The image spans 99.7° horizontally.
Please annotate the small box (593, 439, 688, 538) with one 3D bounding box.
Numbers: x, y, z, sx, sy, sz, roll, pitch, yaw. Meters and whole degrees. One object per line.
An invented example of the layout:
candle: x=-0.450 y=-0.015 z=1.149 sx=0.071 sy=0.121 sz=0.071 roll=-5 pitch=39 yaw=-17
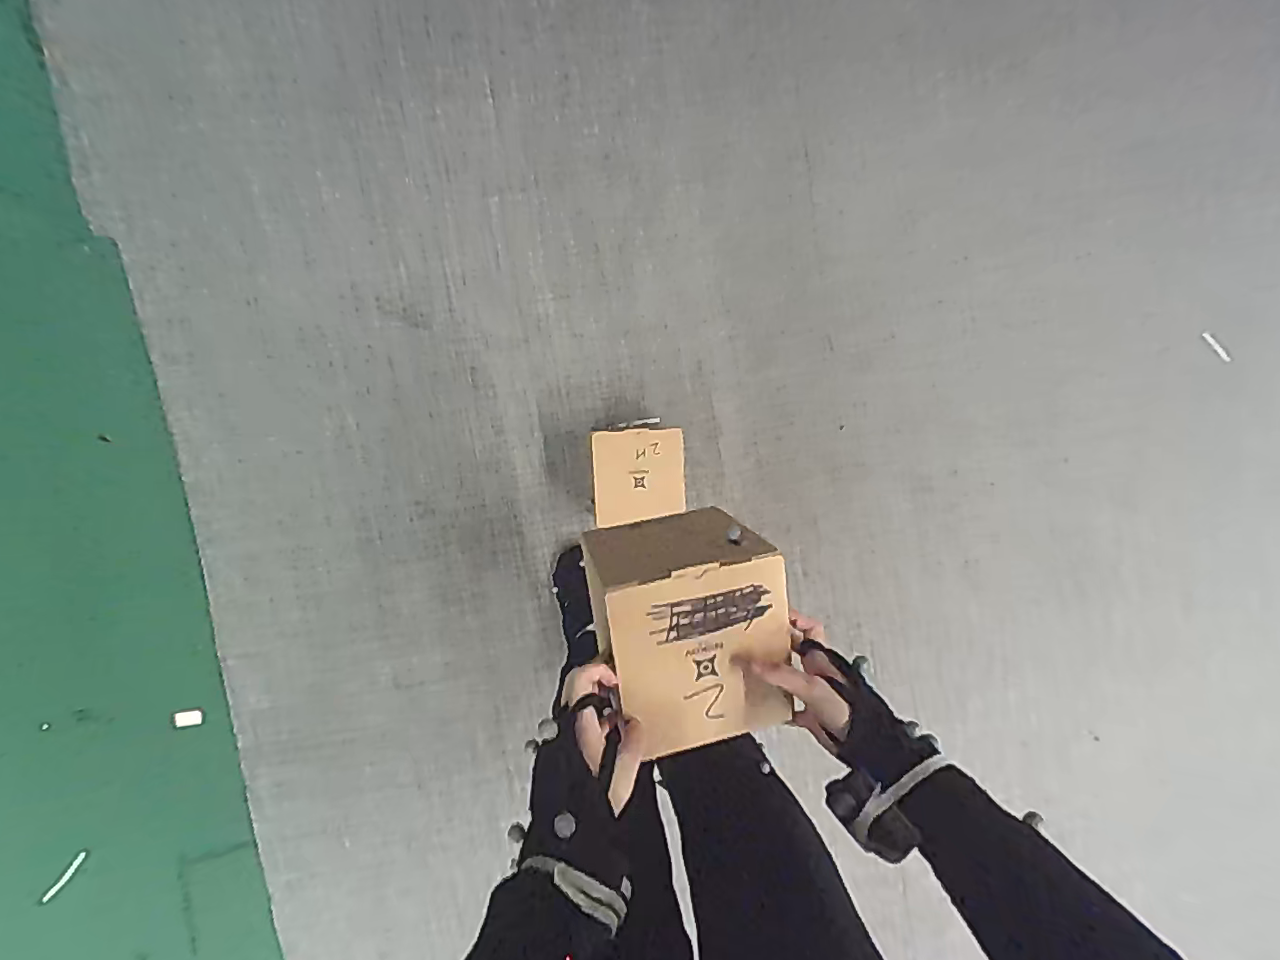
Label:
small box: x=-0.004 y=0.010 z=1.047 sx=0.168 sy=0.176 sz=0.179 roll=-3 pitch=93 yaw=-7
